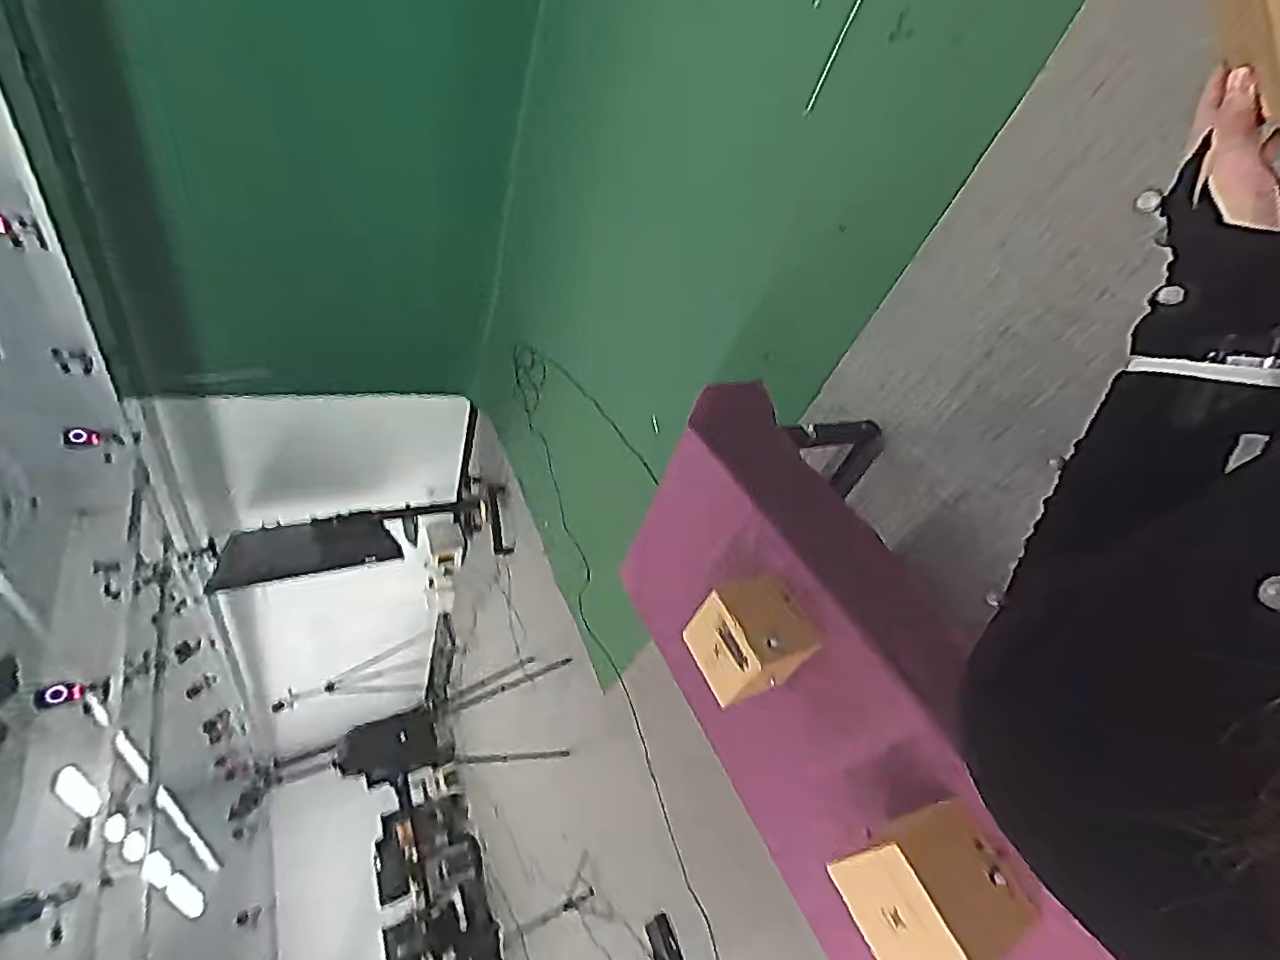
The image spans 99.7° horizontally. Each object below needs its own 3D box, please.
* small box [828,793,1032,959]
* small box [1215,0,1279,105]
[{"bbox_3d":[0.432,0.607,0.813,0.168,0.176,0.179,60,141,31],"label":"small box"},{"bbox_3d":[0.387,-0.311,0.247,0.168,0.176,0.179,-14,104,45],"label":"small box"}]
